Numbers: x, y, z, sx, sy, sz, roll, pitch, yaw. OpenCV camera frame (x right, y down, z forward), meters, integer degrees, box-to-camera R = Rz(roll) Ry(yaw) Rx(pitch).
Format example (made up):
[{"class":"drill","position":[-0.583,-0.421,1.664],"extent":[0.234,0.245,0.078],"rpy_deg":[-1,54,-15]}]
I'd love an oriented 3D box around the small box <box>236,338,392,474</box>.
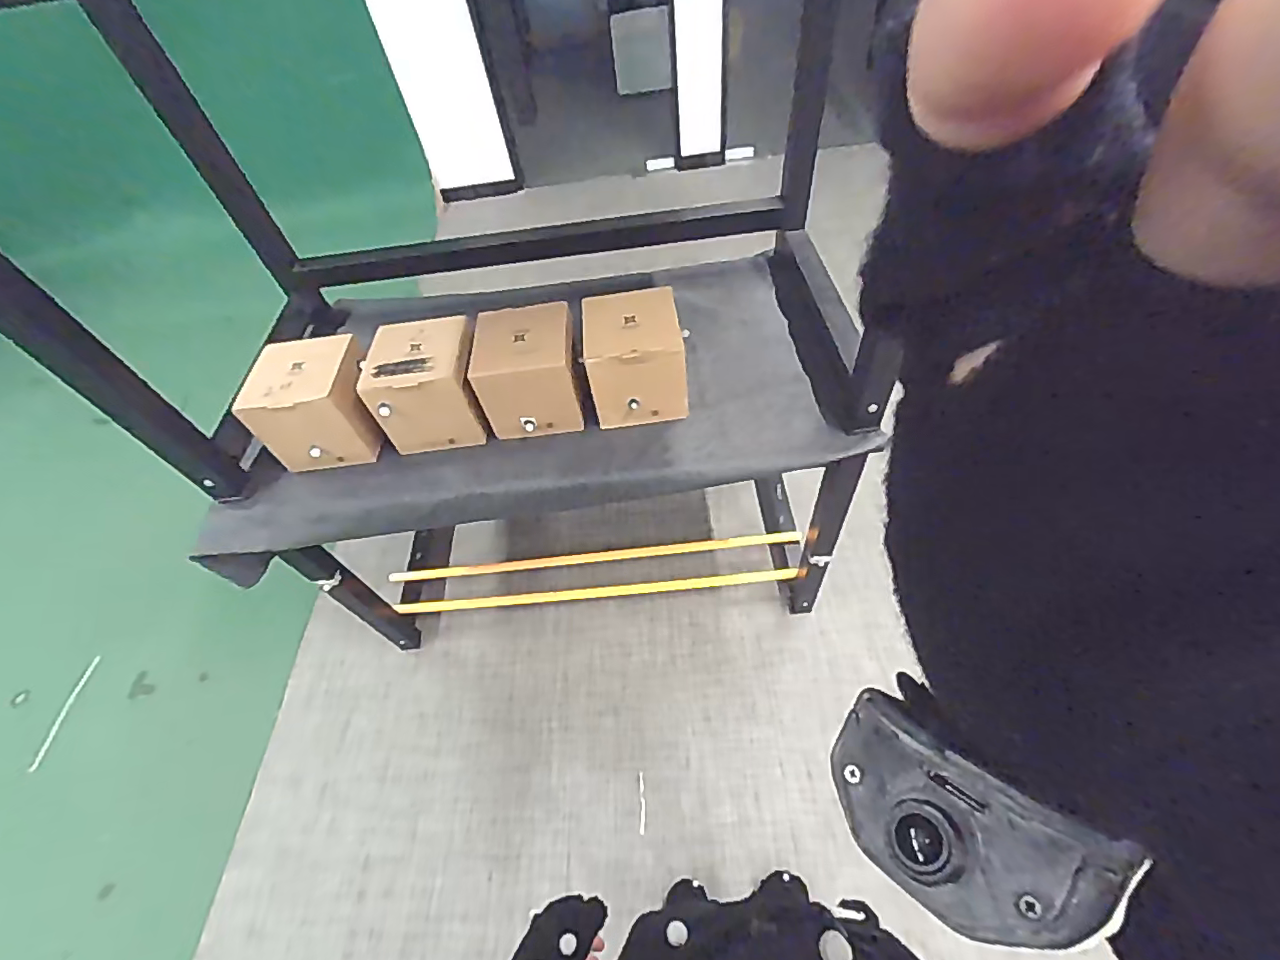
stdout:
[{"class":"small box","position":[-0.586,-0.135,1.002],"extent":[0.168,0.176,0.179],"rpy_deg":[-7,52,2]}]
